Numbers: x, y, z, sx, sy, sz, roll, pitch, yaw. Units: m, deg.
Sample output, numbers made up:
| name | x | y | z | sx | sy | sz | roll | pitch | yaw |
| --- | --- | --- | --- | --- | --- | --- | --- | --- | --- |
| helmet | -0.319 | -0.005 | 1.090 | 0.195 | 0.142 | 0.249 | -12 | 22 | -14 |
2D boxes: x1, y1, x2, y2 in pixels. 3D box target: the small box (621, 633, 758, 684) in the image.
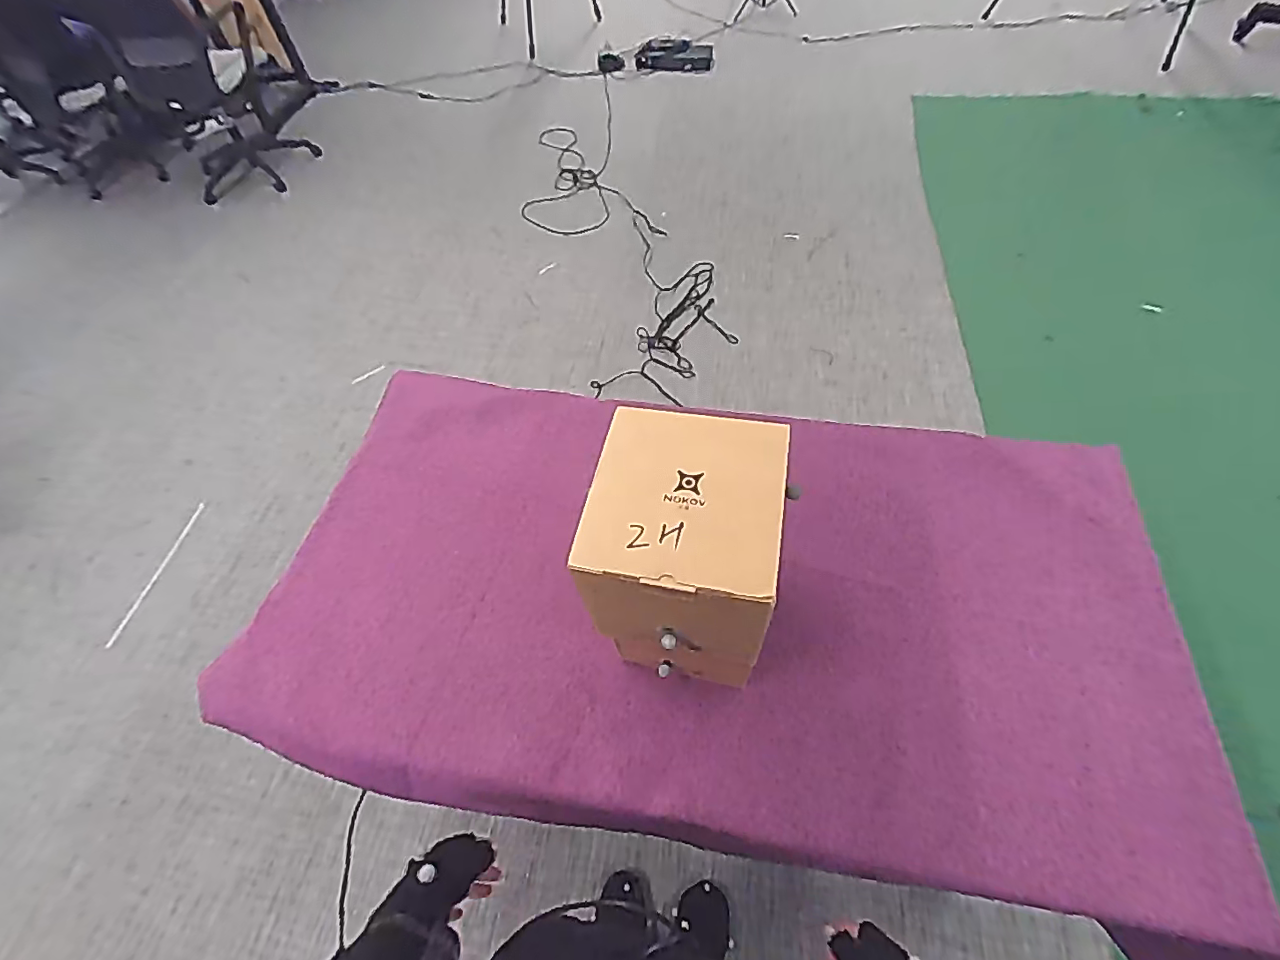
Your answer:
| name | x | y | z | sx | sy | sz | roll | pitch | yaw |
| --- | --- | --- | --- | --- | --- | --- | --- | --- | --- |
| small box | 0.069 | 0.133 | 0.677 | 0.168 | 0.176 | 0.179 | 10 | 58 | 12 |

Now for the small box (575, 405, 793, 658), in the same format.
| name | x | y | z | sx | sy | sz | roll | pitch | yaw |
| --- | --- | --- | --- | --- | --- | --- | --- | --- | --- |
| small box | 0.049 | 0.054 | 0.534 | 0.168 | 0.176 | 0.179 | 8 | 57 | 12 |
